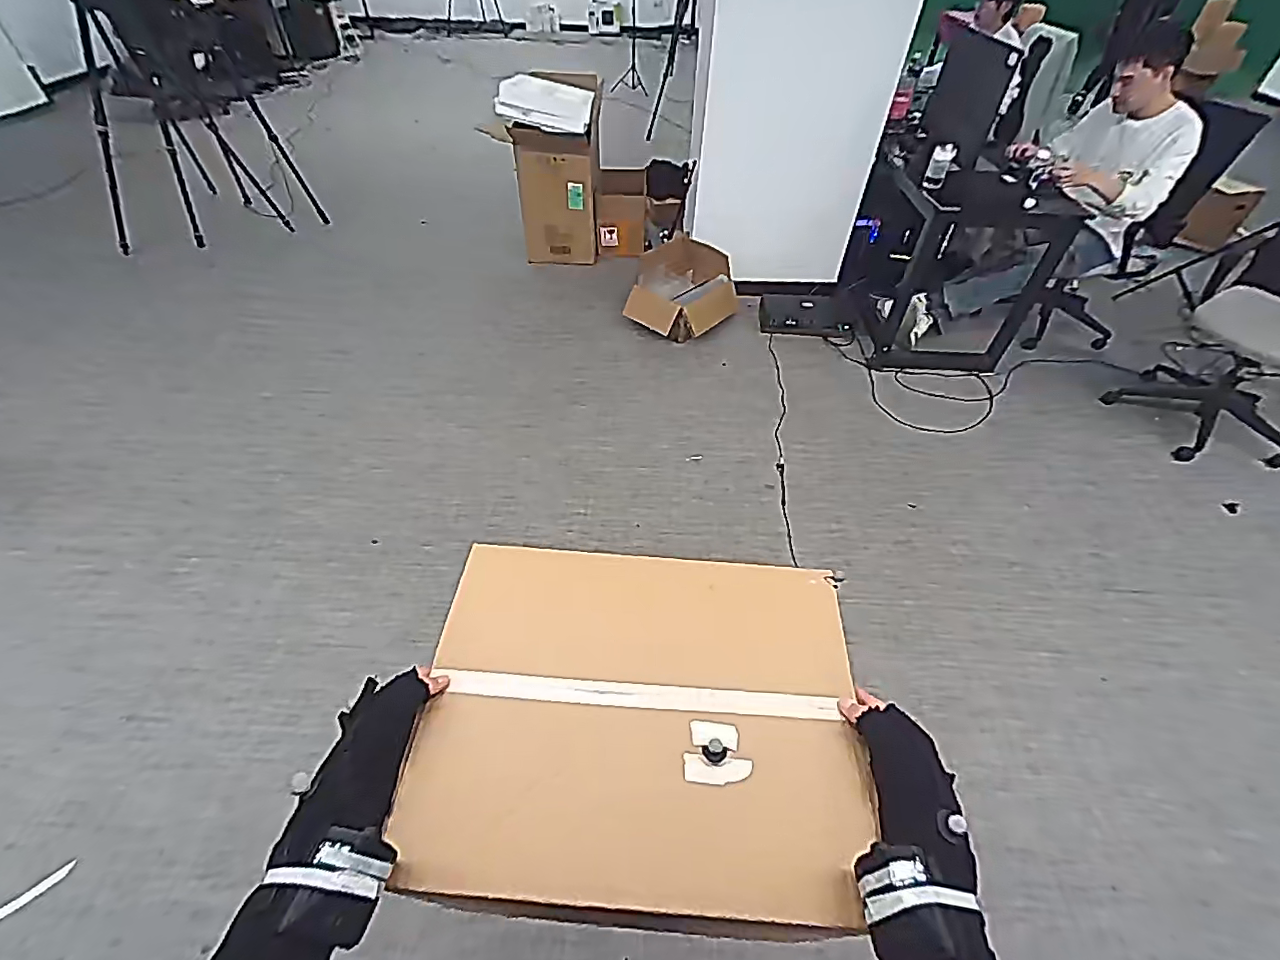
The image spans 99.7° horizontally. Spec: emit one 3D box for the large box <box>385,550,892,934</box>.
[{"bbox_3d":[-0.001,0.305,0.624,0.408,0.320,0.320,5,49,1],"label":"large box"}]
